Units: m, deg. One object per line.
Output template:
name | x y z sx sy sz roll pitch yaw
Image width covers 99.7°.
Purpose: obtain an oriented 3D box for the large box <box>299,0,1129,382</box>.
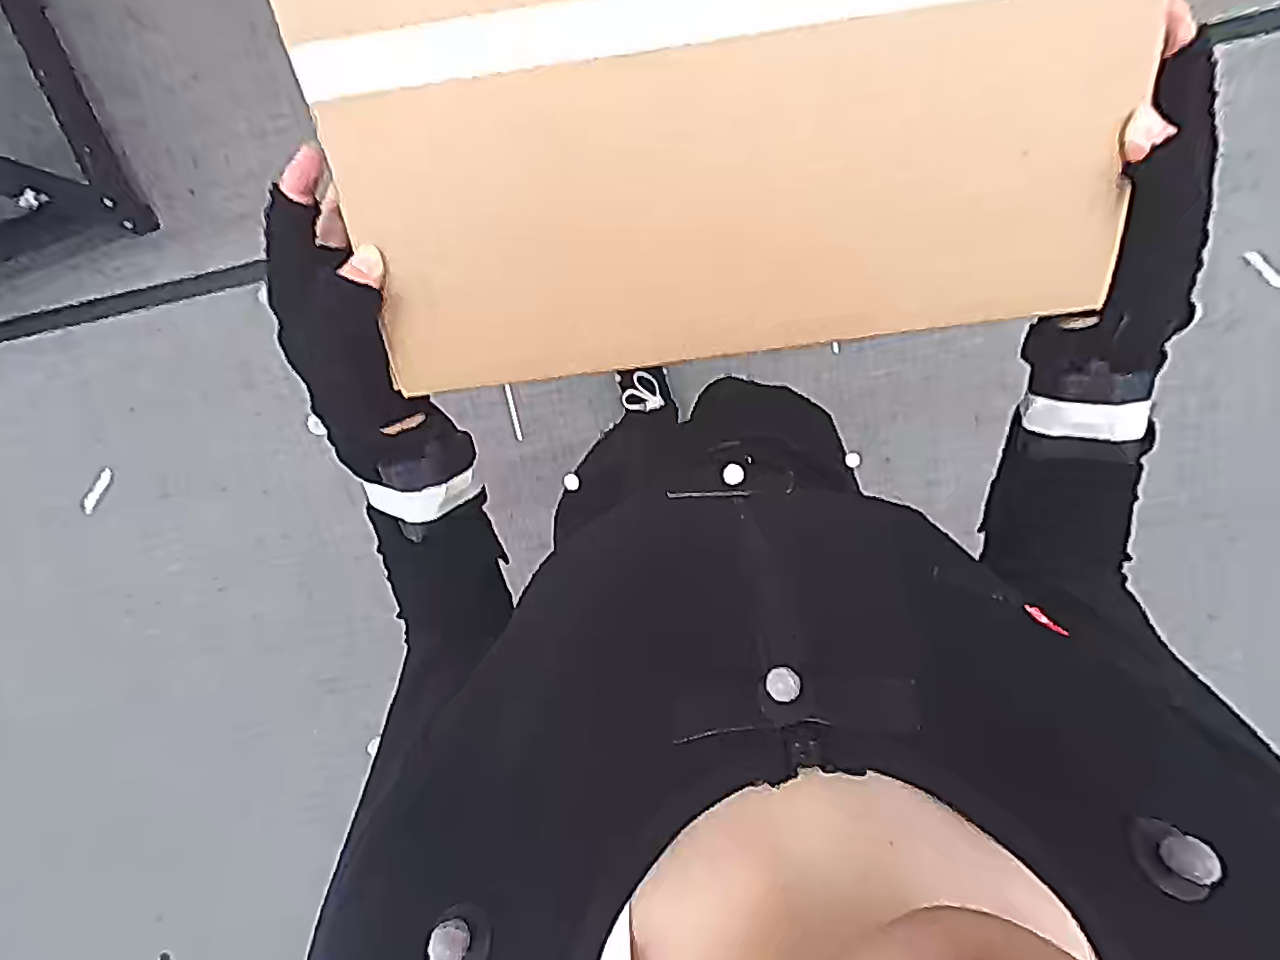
large box | 0.033 -0.281 0.401 0.408 0.320 0.320 -7 114 2
